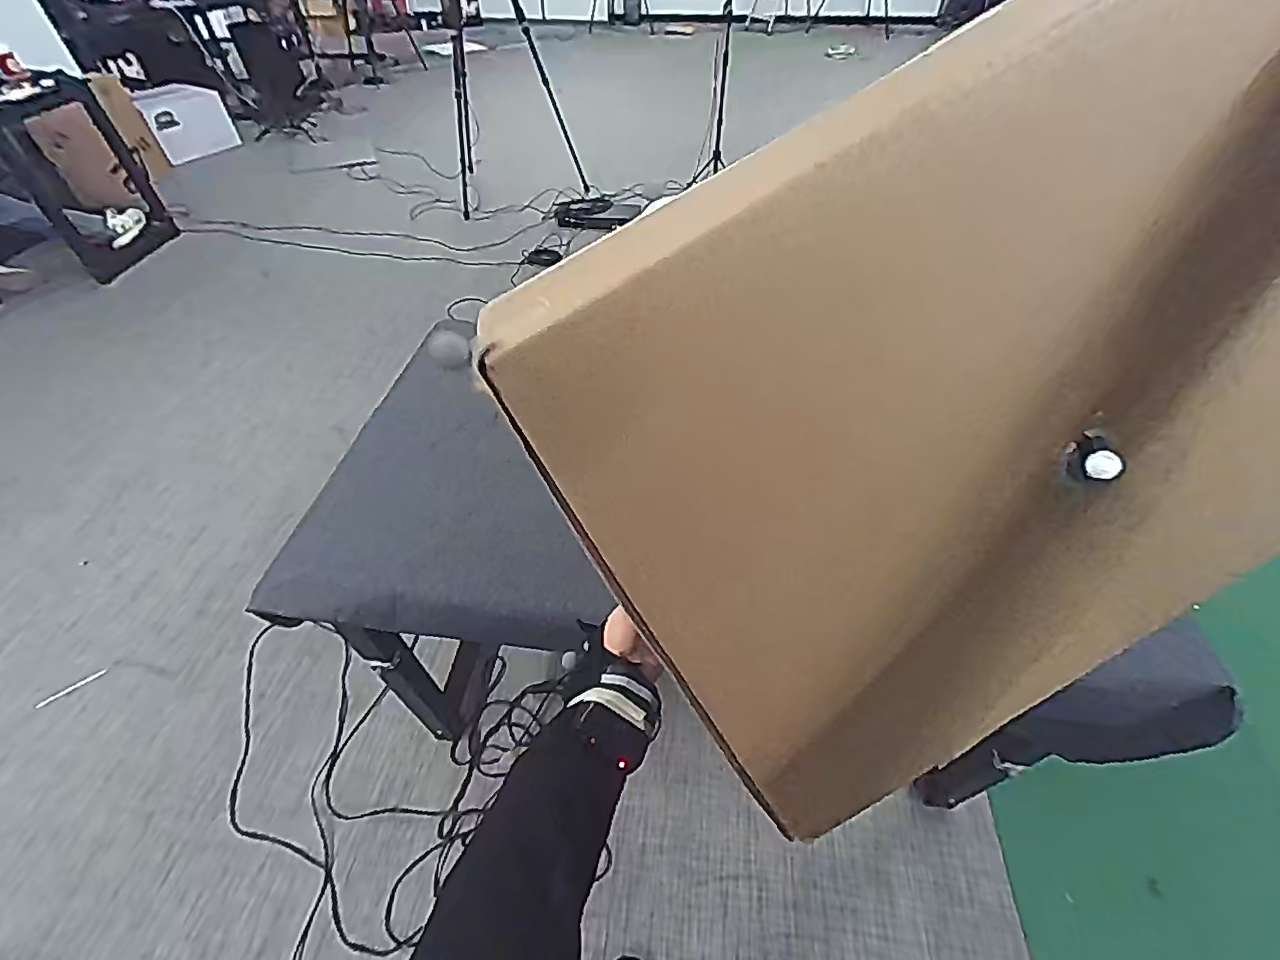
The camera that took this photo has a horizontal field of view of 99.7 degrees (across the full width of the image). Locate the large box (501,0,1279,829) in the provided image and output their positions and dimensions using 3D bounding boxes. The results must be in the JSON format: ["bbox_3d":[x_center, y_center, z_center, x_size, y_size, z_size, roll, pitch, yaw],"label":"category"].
[{"bbox_3d":[0.162,-0.064,0.391,0.408,0.320,0.320,-33,25,-2],"label":"large box"}]
